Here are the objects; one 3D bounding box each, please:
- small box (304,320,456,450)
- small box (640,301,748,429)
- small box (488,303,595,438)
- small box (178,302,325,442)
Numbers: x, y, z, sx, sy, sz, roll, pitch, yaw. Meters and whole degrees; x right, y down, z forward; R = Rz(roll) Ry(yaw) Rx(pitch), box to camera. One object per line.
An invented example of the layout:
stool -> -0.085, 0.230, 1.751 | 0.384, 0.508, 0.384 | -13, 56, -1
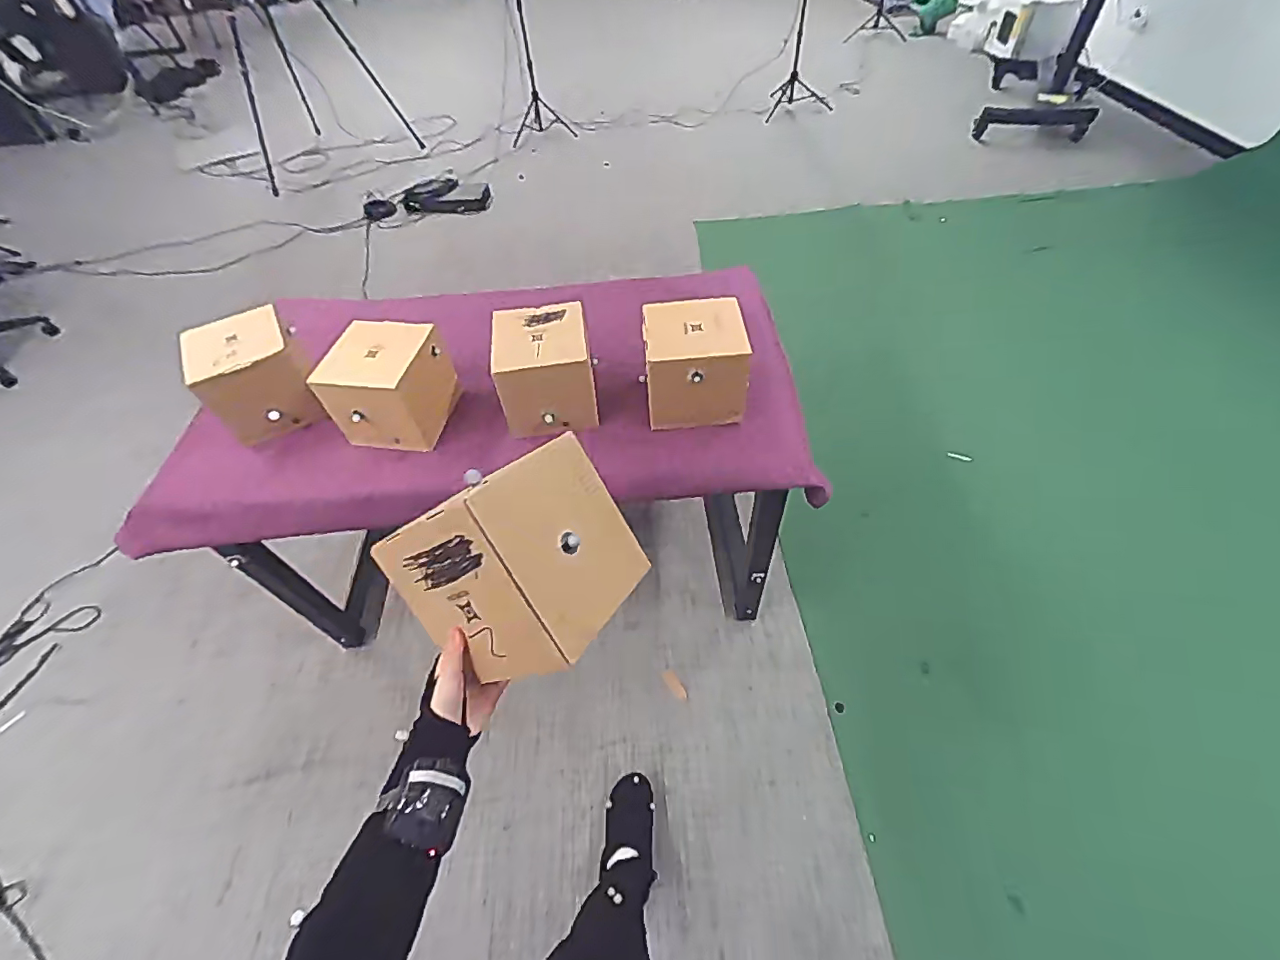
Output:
small box -> -0.466, -0.174, 1.006 | 0.168, 0.176, 0.179 | 5, 51, 8
small box -> 0.094, -0.207, 0.998 | 0.179, 0.176, 0.168 | -3, 51, 1
small box -> -0.178, -0.203, 1.011 | 0.168, 0.176, 0.179 | -8, 52, -2
small box -> -0.741, -0.205, 1.040 | 0.168, 0.176, 0.179 | -27, 56, -17
